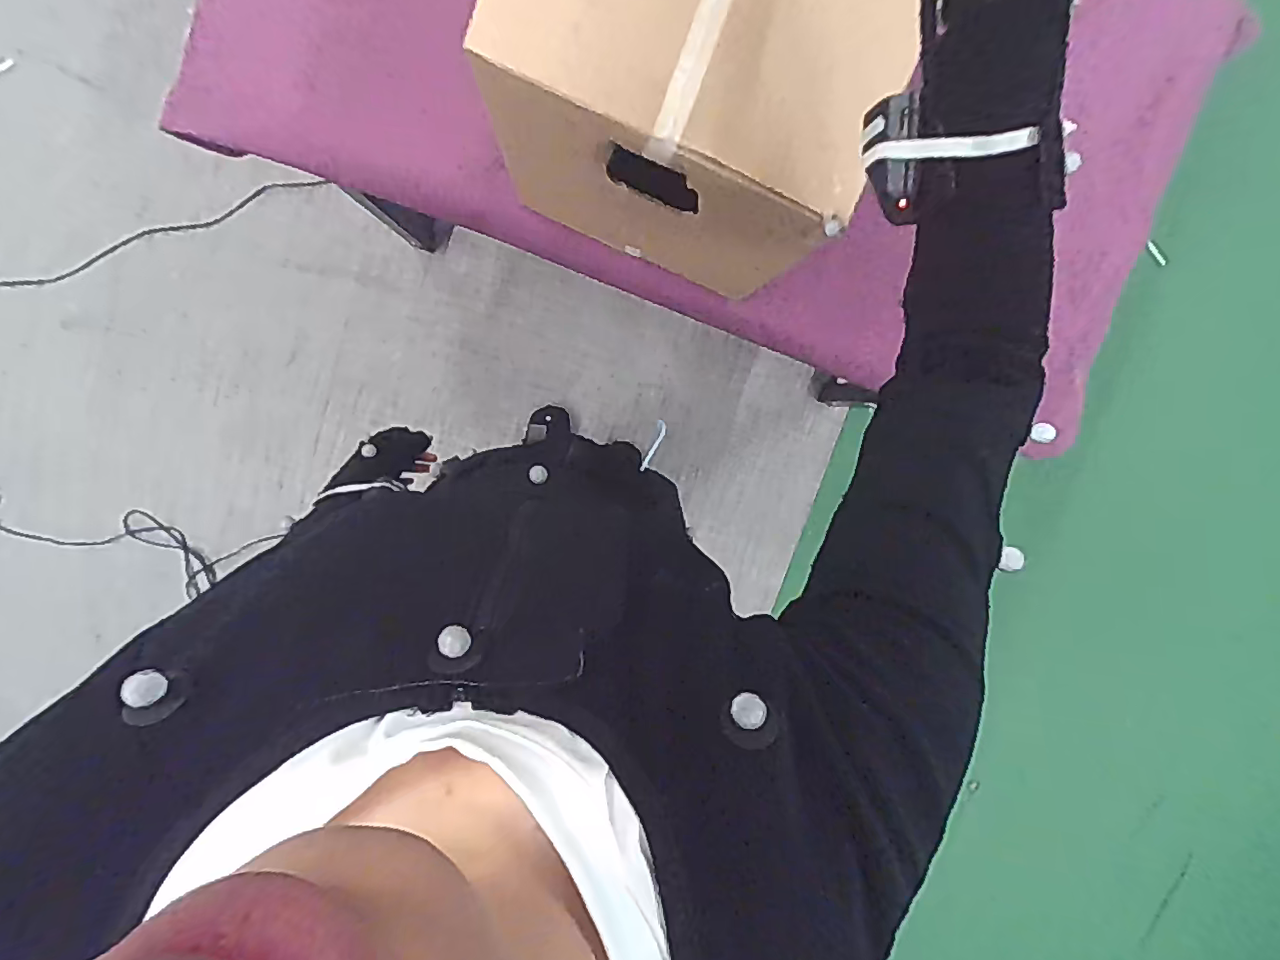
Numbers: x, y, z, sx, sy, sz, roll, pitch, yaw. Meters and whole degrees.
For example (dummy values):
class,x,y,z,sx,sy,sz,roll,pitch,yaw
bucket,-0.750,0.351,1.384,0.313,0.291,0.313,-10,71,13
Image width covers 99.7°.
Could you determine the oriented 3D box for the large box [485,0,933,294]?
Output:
class,x,y,z,sx,sy,sz,roll,pitch,yaw
large box,0.078,-0.463,0.551,0.320,0.320,0.408,21,96,-8
